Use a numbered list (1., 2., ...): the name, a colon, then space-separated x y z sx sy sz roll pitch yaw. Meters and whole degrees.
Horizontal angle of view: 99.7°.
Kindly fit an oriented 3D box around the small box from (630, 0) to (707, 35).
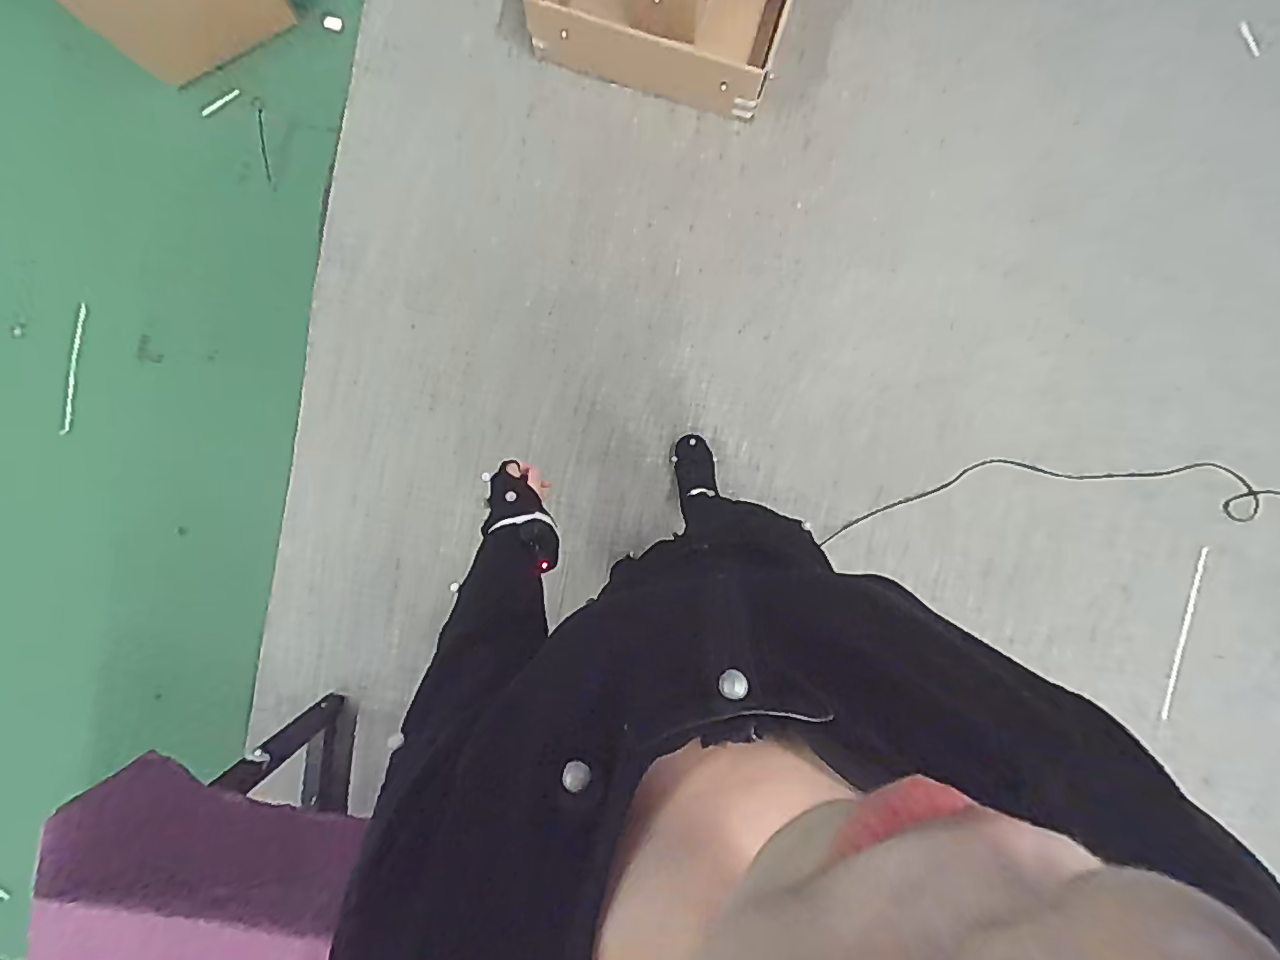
1. small box: 0.076 -1.215 1.287 0.179 0.176 0.168 17 95 1
